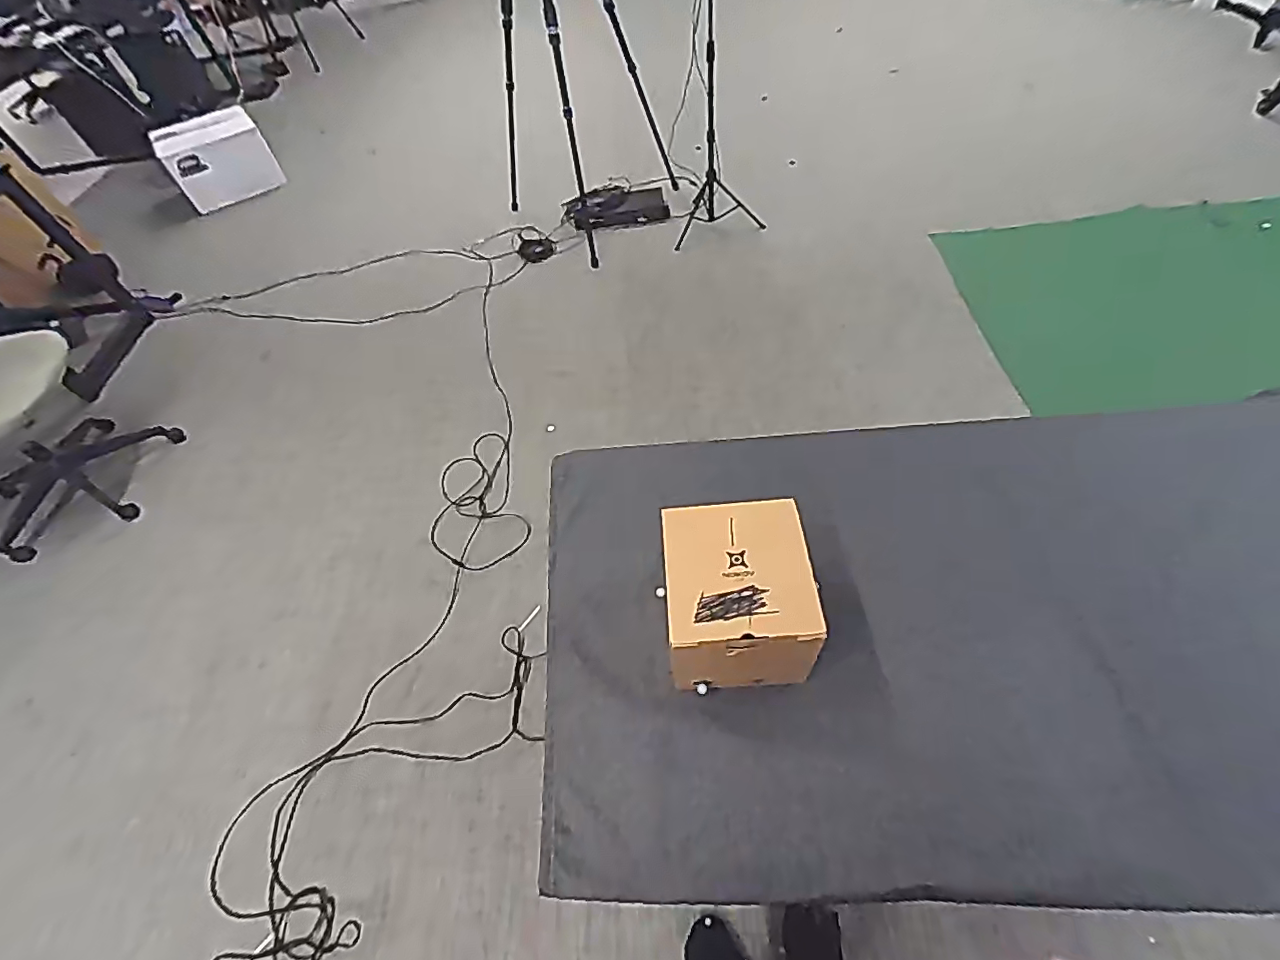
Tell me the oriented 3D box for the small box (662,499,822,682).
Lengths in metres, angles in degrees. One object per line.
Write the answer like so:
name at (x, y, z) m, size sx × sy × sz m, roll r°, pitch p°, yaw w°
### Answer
small box at (0.118, 0.146, 0.681) m, size 0.168 × 0.176 × 0.179 m, roll -5°, pitch 53°, yaw 4°
